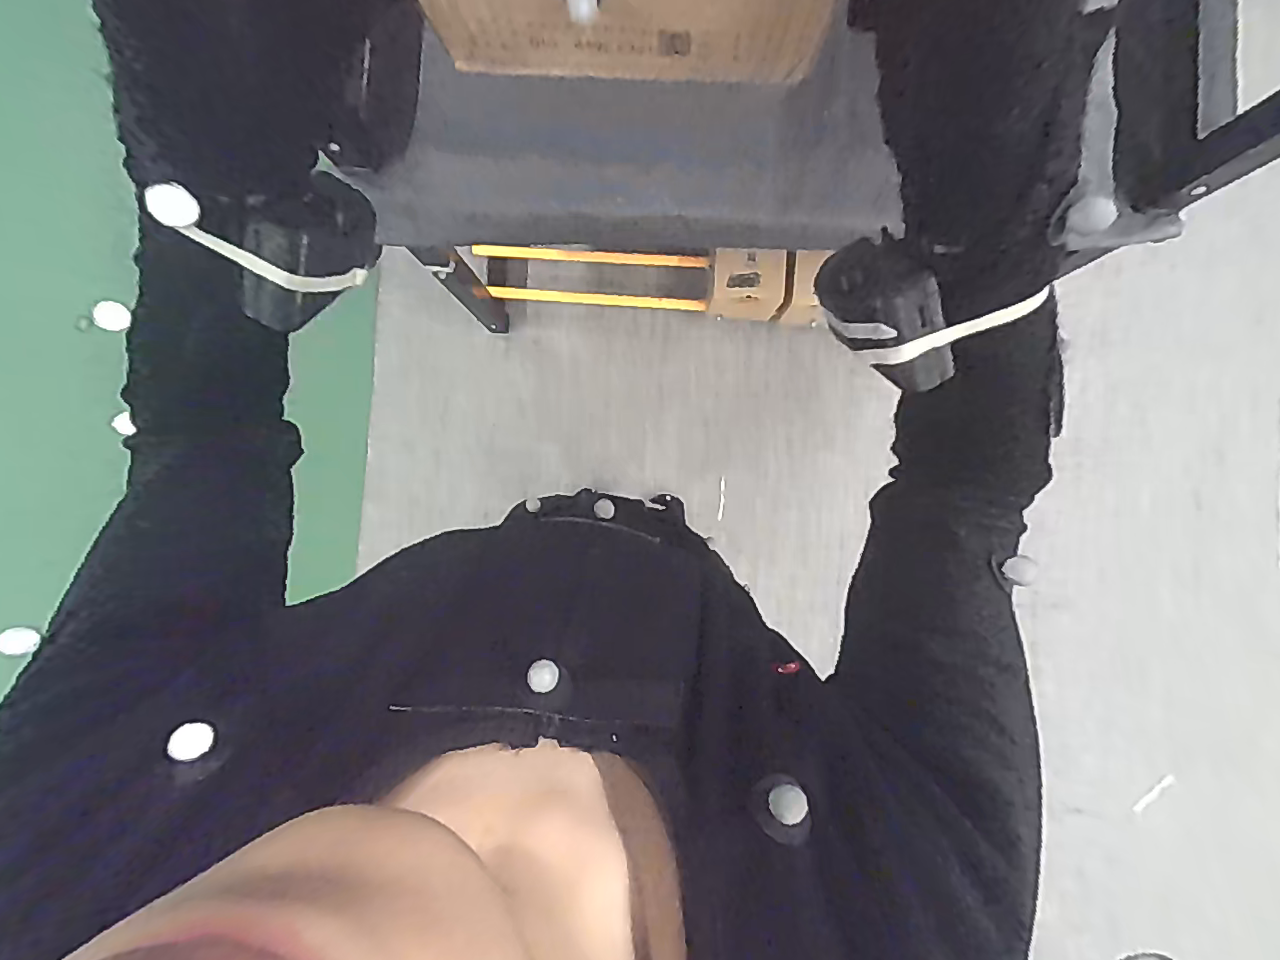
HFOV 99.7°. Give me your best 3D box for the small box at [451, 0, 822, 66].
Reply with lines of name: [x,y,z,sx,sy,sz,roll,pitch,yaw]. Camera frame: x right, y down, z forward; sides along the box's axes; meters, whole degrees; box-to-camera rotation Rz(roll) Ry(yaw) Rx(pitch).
small box: [-0.004,-0.271,0.158,0.168,0.176,0.179,4,98,2]
